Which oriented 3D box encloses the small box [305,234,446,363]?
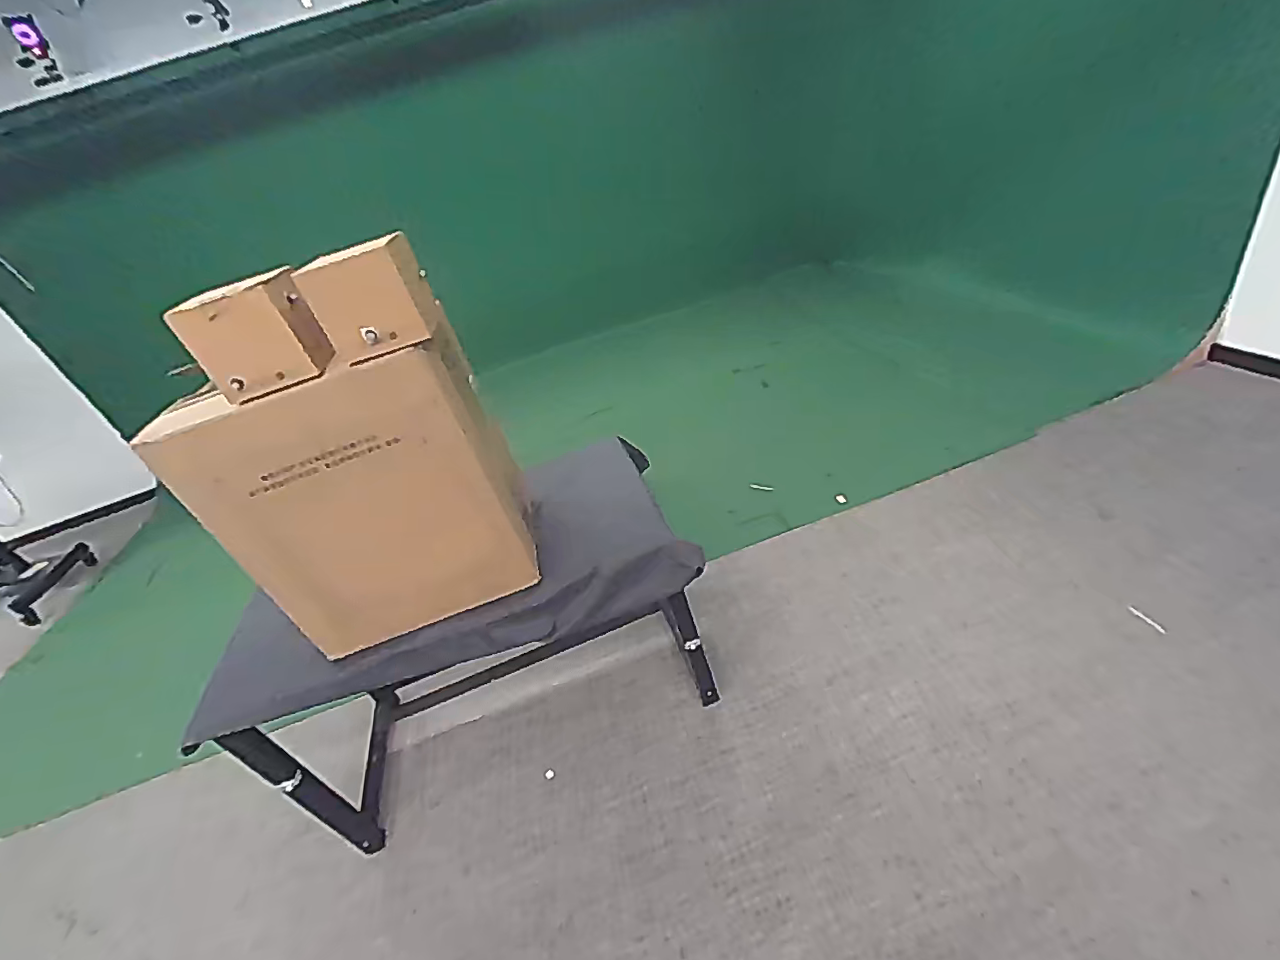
[{"bbox_3d":[-0.479,-0.339,1.013,0.168,0.176,0.179,-20,35,-2],"label":"small box"}]
